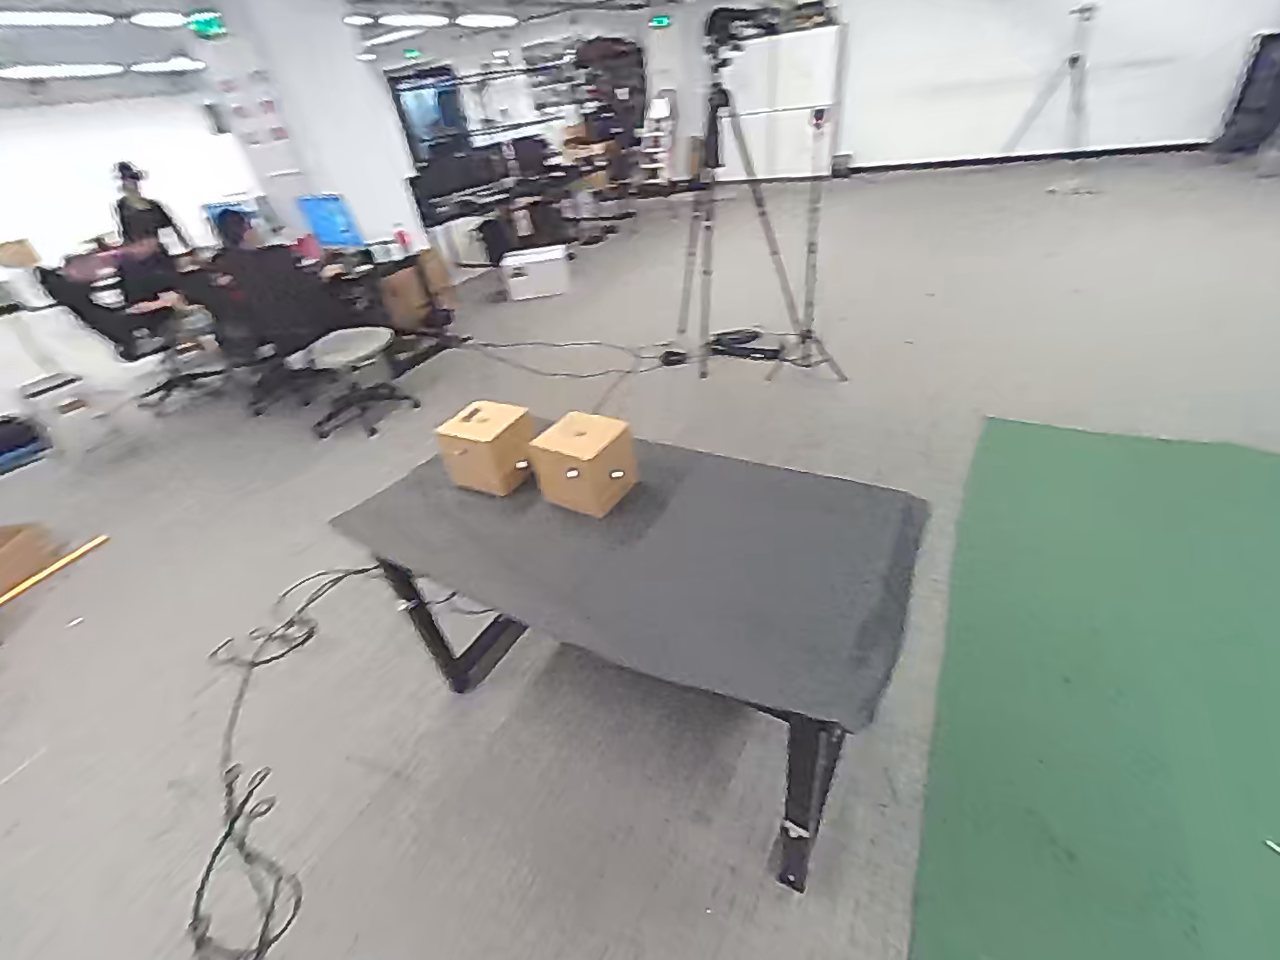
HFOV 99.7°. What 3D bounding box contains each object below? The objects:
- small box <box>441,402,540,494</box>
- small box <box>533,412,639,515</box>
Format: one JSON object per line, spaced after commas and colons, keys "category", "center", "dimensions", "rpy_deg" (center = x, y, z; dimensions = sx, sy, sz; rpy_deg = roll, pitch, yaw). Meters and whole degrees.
{"category": "small box", "center": [-0.377, -0.083, 1.410], "dimensions": [0.179, 0.176, 0.168], "rpy_deg": [12, 41, 25]}
{"category": "small box", "center": [-0.120, -0.038, 1.290], "dimensions": [0.179, 0.176, 0.168], "rpy_deg": [16, 42, 30]}
